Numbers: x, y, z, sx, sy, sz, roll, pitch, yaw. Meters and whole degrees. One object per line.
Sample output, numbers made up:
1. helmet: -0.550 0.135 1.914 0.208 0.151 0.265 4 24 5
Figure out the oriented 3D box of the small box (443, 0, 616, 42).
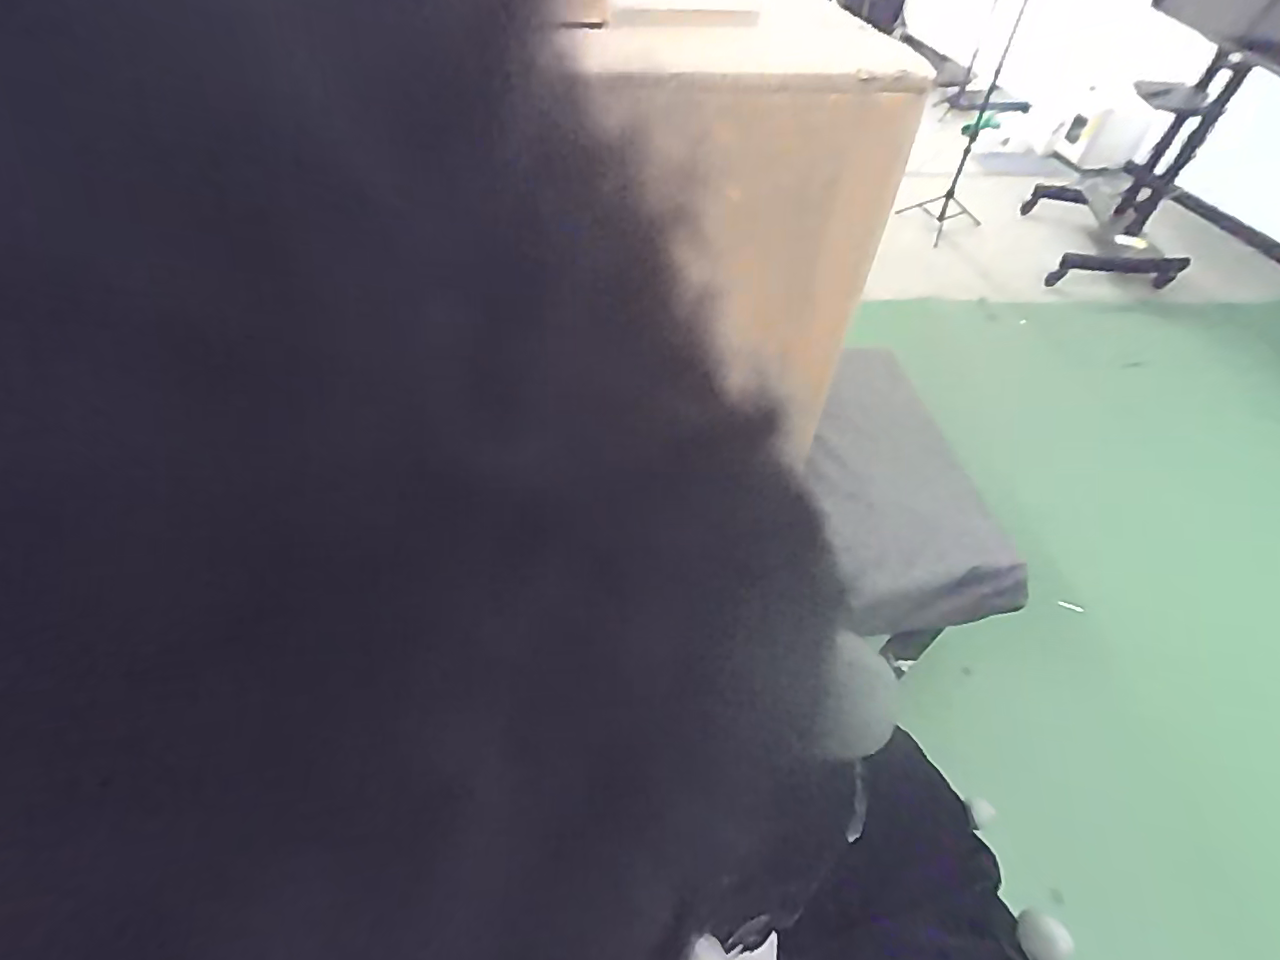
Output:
1. small box: -0.110 -0.548 0.525 0.168 0.176 0.179 0 46 0
